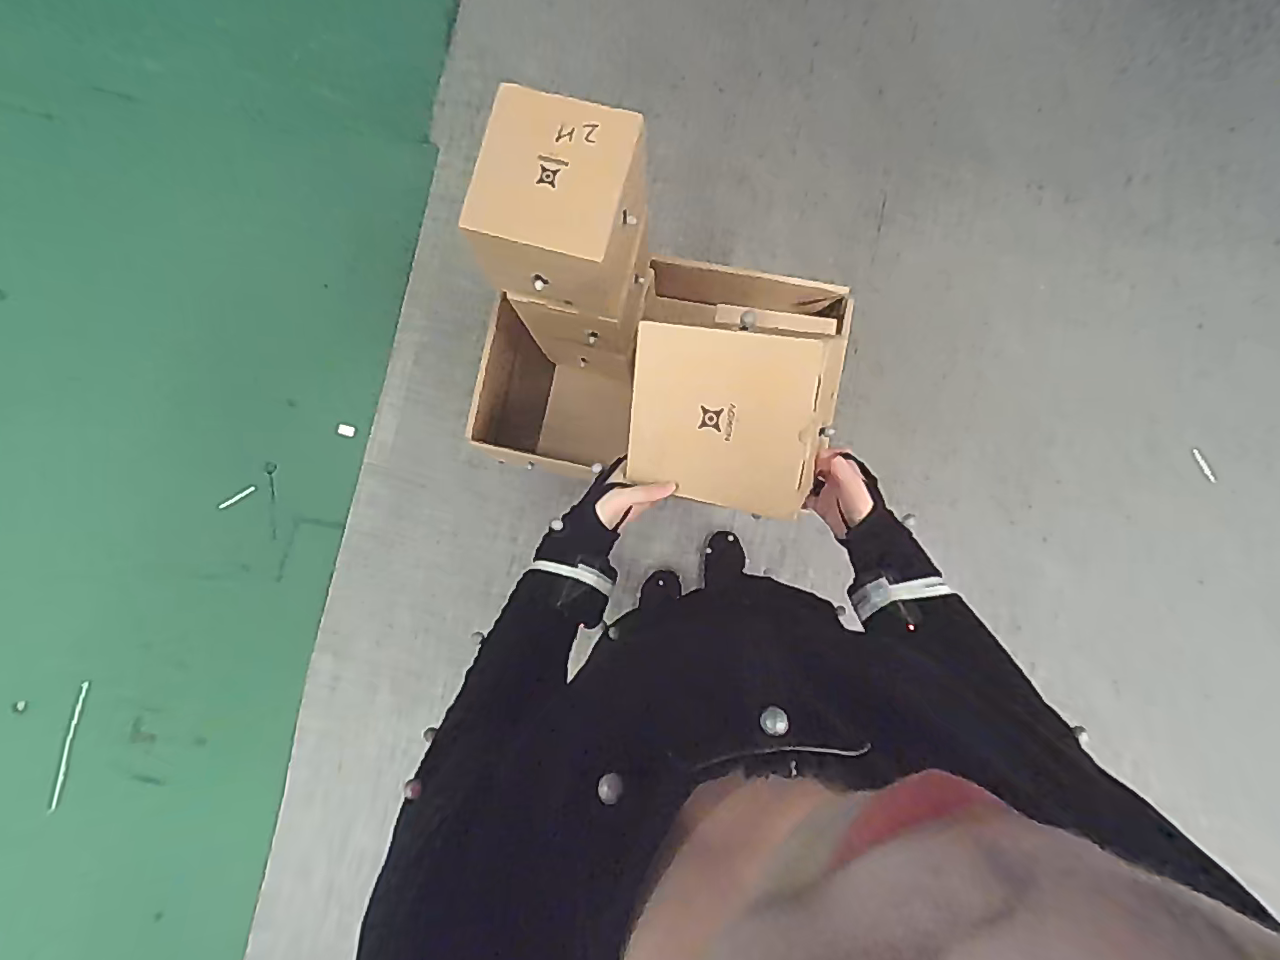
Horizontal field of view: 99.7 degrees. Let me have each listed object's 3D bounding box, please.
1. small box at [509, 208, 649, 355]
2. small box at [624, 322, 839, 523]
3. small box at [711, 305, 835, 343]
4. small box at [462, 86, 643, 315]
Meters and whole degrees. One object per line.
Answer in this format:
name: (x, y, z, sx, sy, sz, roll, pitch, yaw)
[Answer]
small box: (-0.083, -0.311, 0.836, 0.168, 0.176, 0.179, 14, 86, 2)
small box: (0.102, -0.073, 0.577, 0.179, 0.176, 0.168, 13, 109, 20)
small box: (0.174, -0.136, 0.808, 0.168, 0.176, 0.179, 9, 86, 3)
small box: (-0.094, -0.329, 0.673, 0.168, 0.176, 0.179, 16, 86, 2)
